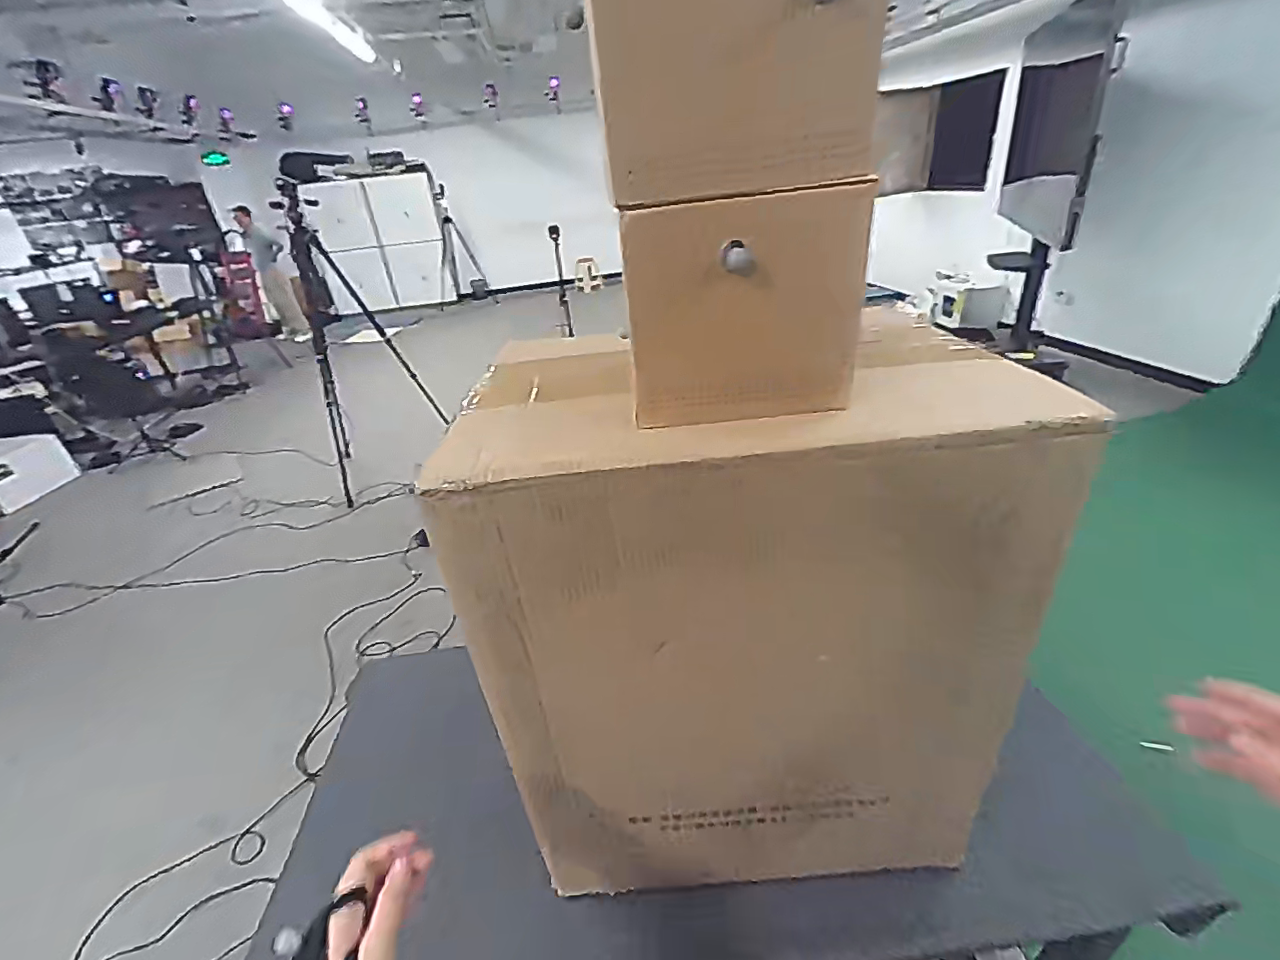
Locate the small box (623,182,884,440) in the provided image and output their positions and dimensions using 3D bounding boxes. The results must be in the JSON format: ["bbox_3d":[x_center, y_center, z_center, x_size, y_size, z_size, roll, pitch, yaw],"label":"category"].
[{"bbox_3d":[0.081,-0.148,0.467,0.179,0.176,0.168,-5,32,2],"label":"small box"}]
